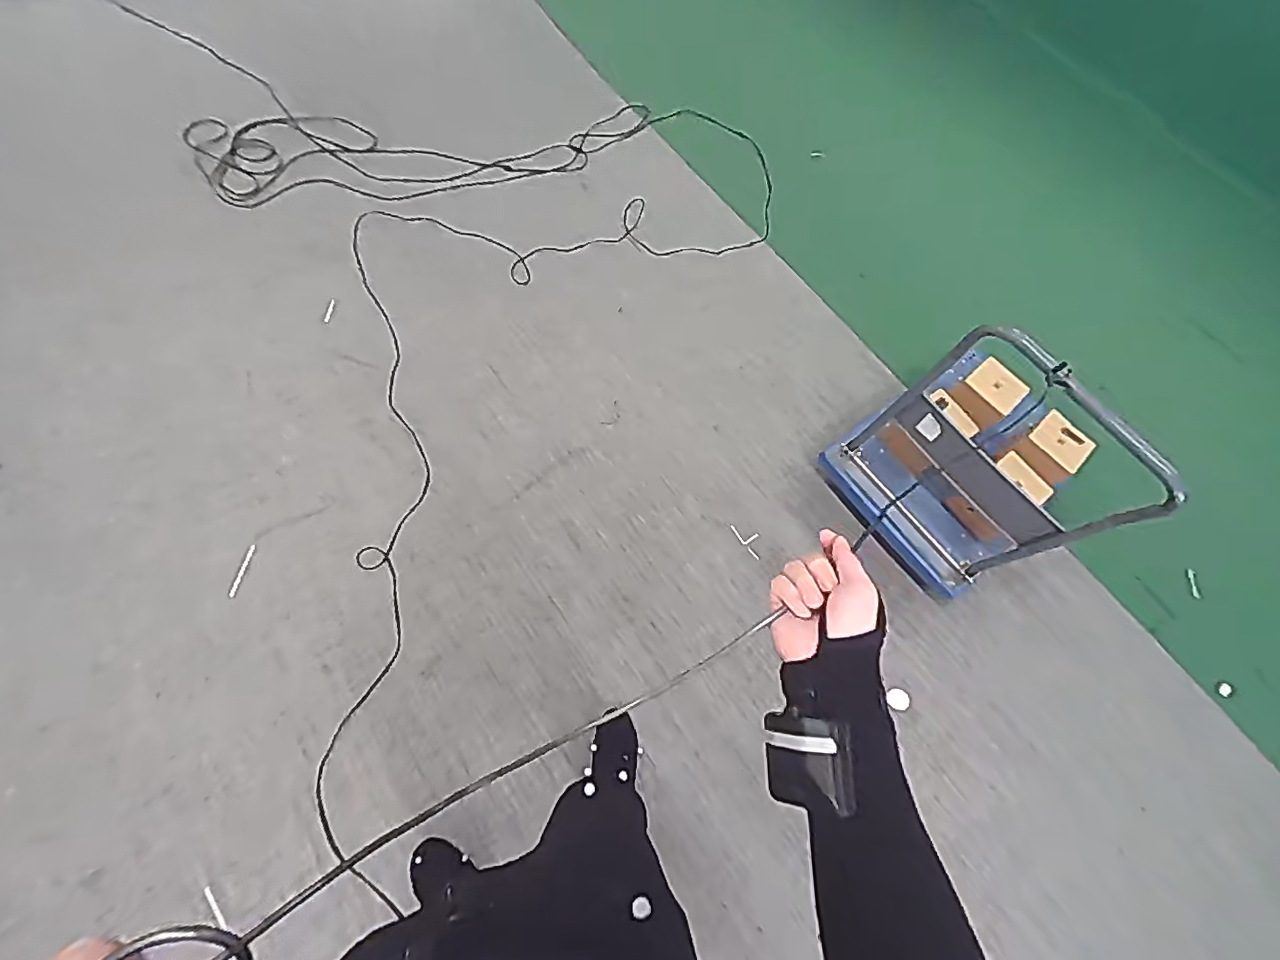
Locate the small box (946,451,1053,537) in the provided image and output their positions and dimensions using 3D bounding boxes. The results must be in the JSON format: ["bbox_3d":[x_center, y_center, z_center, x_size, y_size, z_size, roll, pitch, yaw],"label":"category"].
[{"bbox_3d":[1.079,0.047,1.636,0.179,0.176,0.168,-31,75,-21],"label":"small box"}]

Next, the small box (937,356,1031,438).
[{"bbox_3d":[1.127,-0.270,1.791,0.179,0.176,0.168,-36,77,-23],"label":"small box"}]

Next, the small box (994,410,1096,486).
[{"bbox_3d":[1.291,-0.087,1.737,0.179,0.176,0.168,-36,76,-22],"label":"small box"}]
